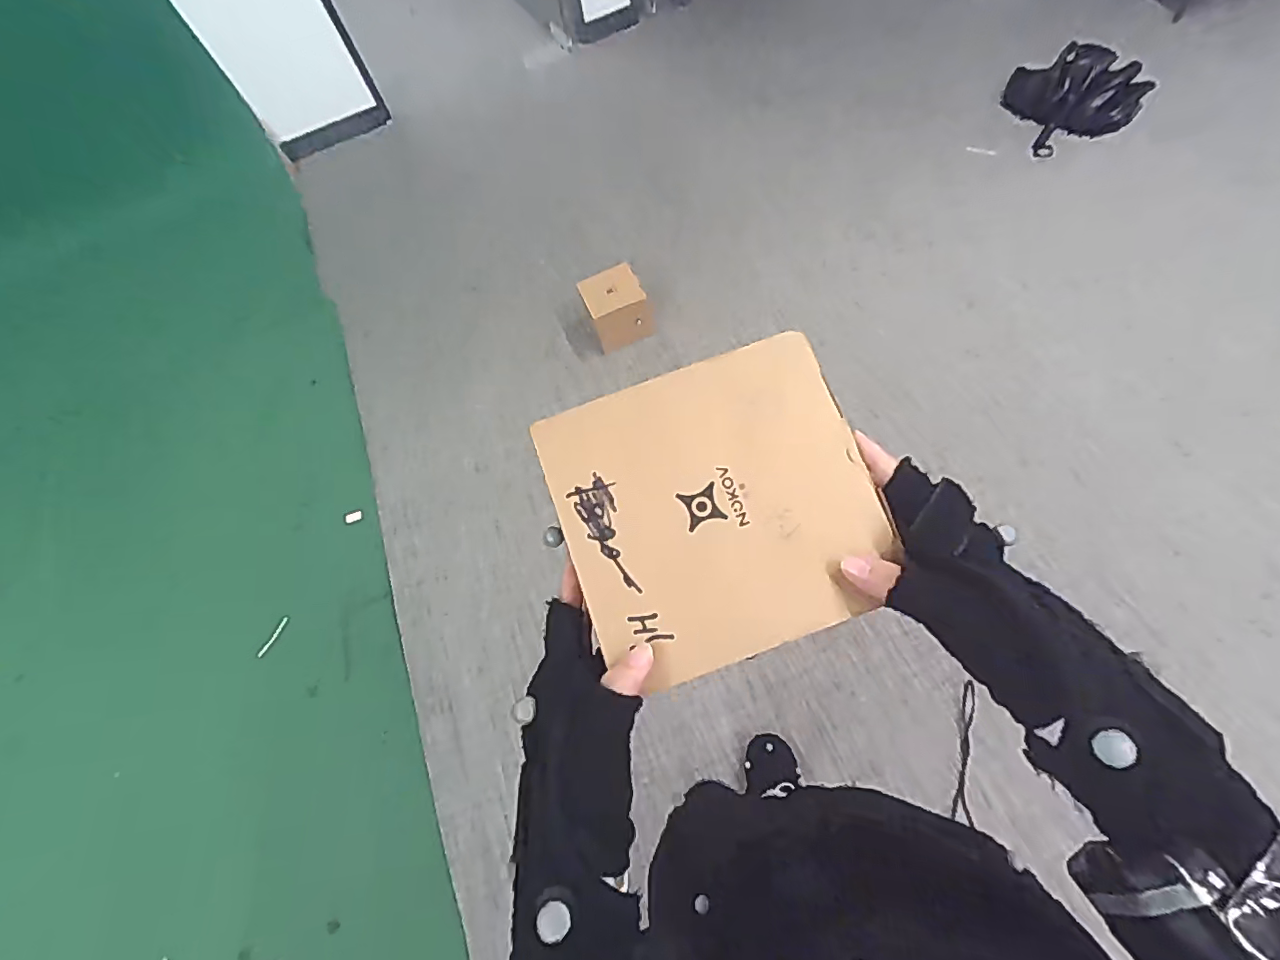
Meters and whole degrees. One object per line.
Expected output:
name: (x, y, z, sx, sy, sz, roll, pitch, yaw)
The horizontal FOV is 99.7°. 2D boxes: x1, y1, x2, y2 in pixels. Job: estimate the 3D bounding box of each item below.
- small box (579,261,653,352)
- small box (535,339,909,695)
small box: (-0.068, -0.537, 1.688, 0.179, 0.176, 0.168, -25, 64, -1)
small box: (0.045, 0.032, 0.387, 0.179, 0.176, 0.168, -19, 76, -2)
